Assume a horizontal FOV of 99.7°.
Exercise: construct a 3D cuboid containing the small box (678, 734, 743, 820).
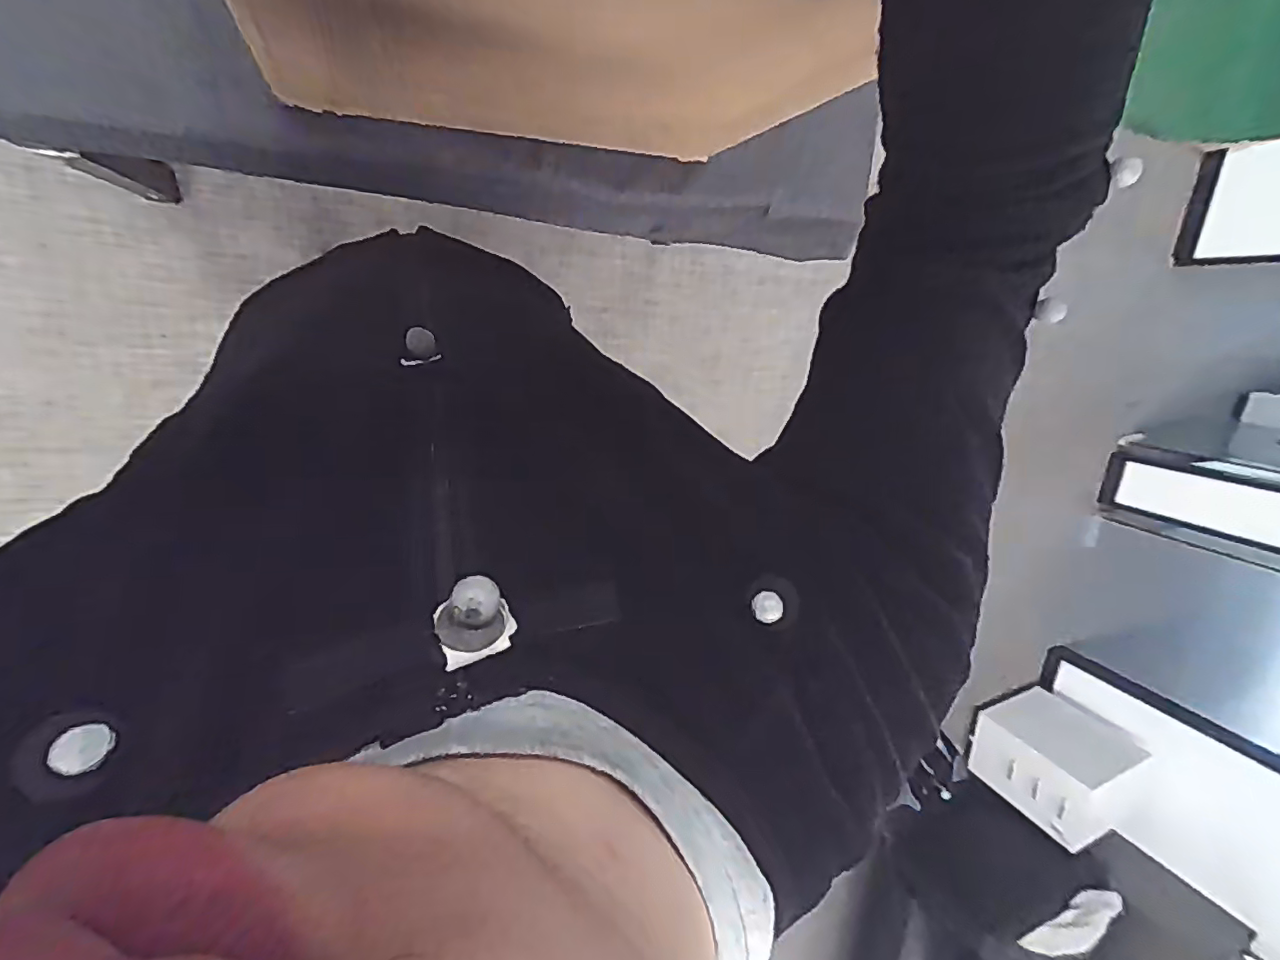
[{"bbox_3d":[0.249,1.051,1.926,0.168,0.176,0.179,-16,112,-18],"label":"small box"}]
